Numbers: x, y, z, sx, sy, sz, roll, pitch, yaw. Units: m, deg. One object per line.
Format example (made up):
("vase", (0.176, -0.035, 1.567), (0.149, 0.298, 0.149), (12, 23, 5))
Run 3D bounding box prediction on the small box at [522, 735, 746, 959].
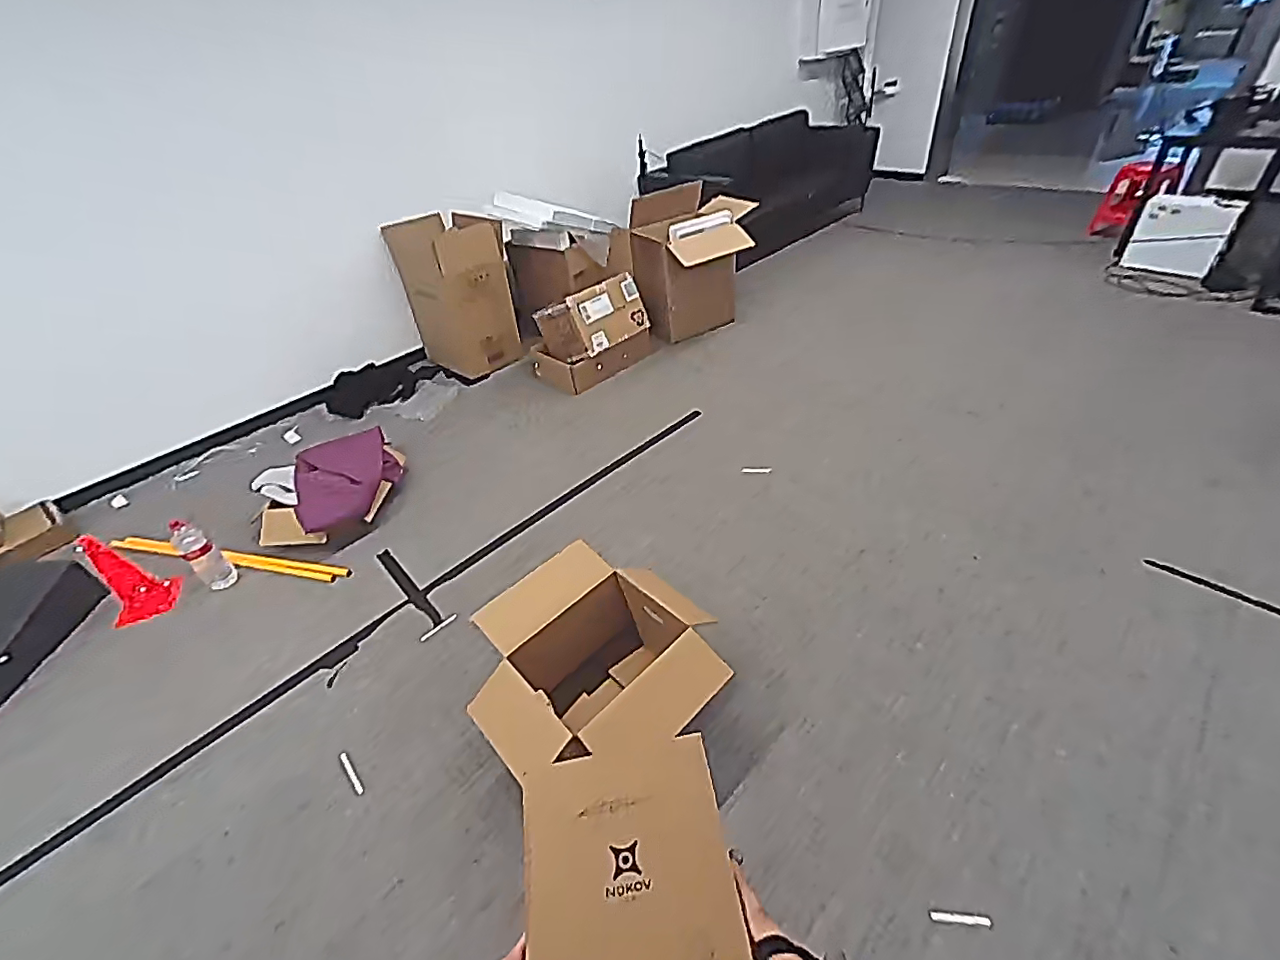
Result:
("small box", (-0.006, 0.365, 0.496), (0.168, 0.176, 0.179), (-11, 47, -3))
